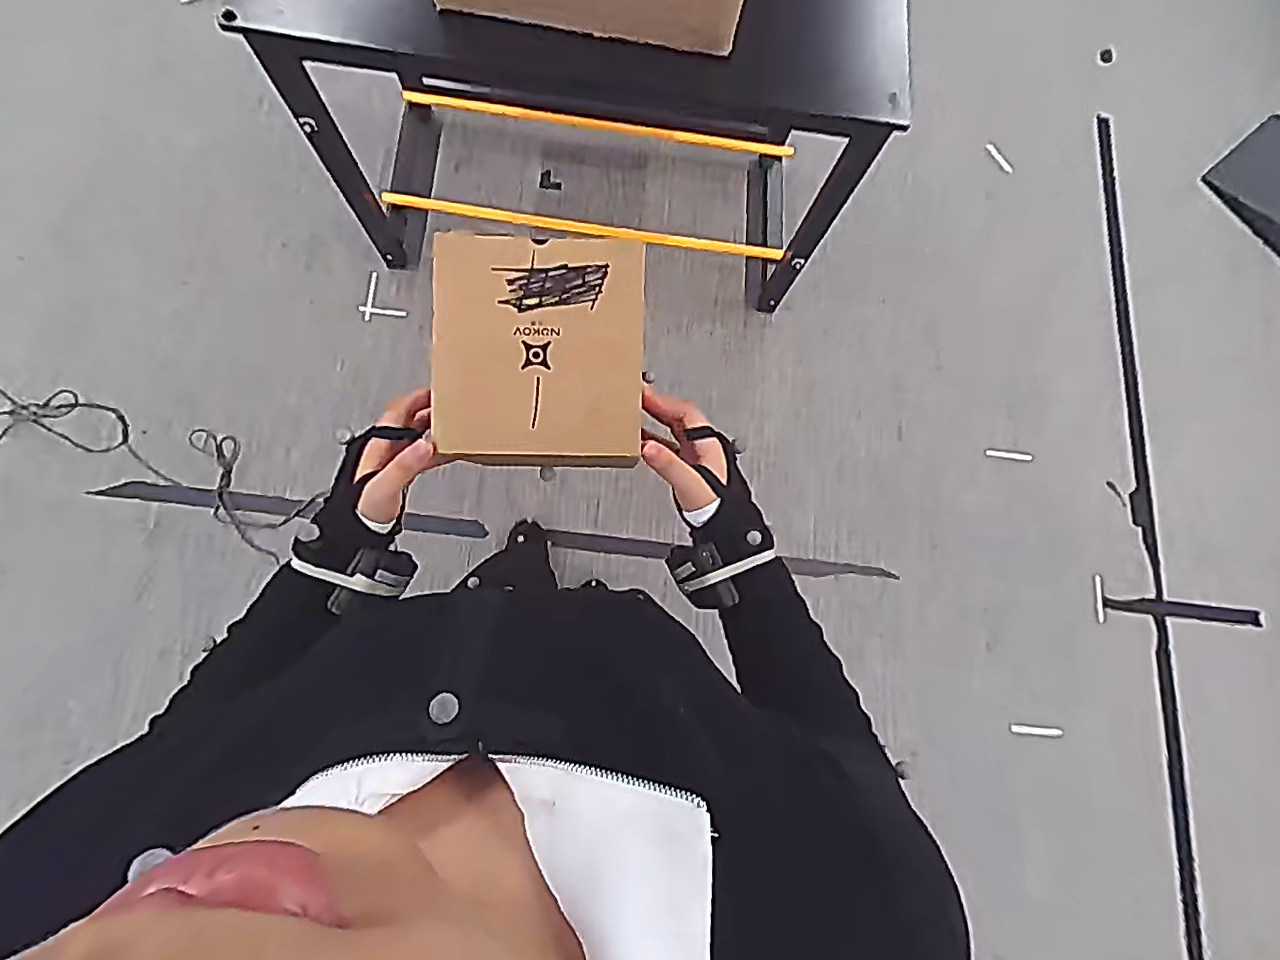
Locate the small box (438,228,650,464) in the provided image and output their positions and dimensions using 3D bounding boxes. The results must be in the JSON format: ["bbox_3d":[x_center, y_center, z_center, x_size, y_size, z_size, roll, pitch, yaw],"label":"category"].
[{"bbox_3d":[-0.079,-0.109,0.509,0.168,0.176,0.179,1,88,-2],"label":"small box"}]
